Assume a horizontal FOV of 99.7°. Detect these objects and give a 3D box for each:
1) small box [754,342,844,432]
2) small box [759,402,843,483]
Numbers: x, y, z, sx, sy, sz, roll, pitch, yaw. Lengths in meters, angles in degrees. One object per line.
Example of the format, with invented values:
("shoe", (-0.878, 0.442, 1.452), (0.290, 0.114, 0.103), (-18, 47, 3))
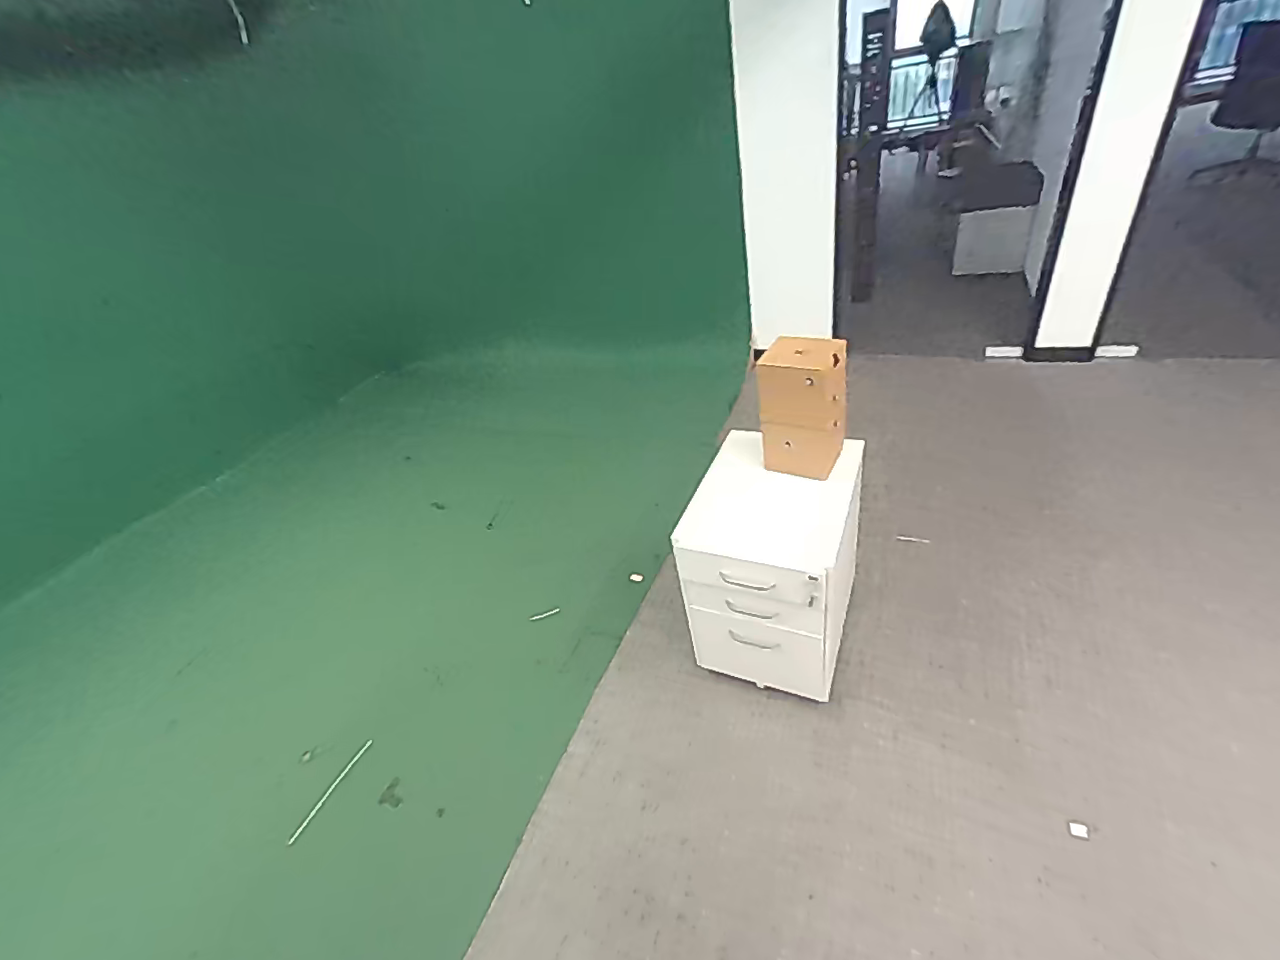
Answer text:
("small box", (0.408, -0.238, 1.384), (0.179, 0.176, 0.168), (13, 44, 31))
("small box", (0.443, -0.111, 1.479), (0.179, 0.176, 0.168), (13, 44, 32))
